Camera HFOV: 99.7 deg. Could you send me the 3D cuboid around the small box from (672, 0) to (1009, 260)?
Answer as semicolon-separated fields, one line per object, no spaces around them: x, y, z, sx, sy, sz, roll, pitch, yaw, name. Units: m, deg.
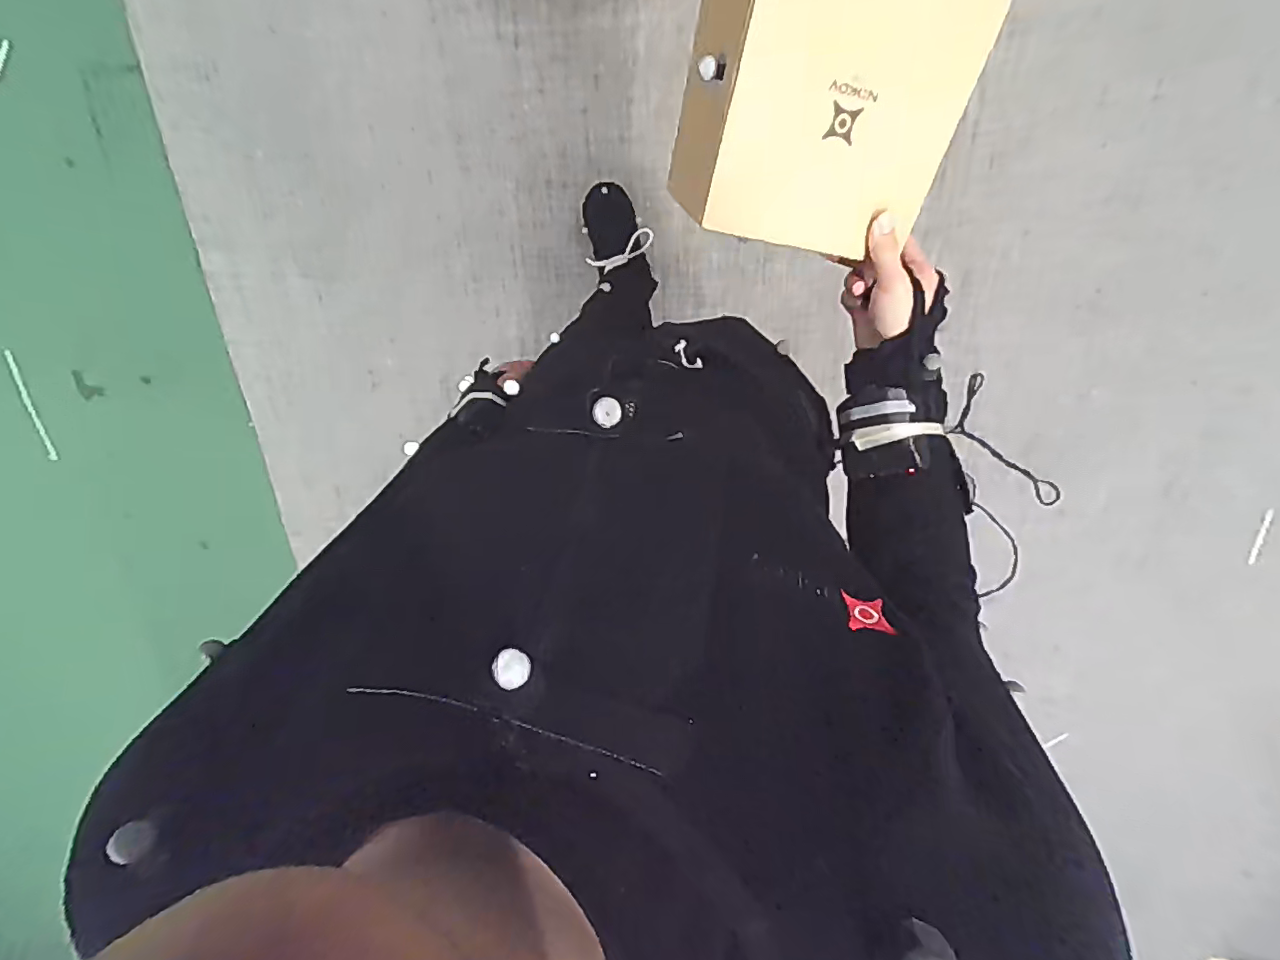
0.128;-0.298;0.427;0.168;0.176;0.179;5;124;-12;small box
